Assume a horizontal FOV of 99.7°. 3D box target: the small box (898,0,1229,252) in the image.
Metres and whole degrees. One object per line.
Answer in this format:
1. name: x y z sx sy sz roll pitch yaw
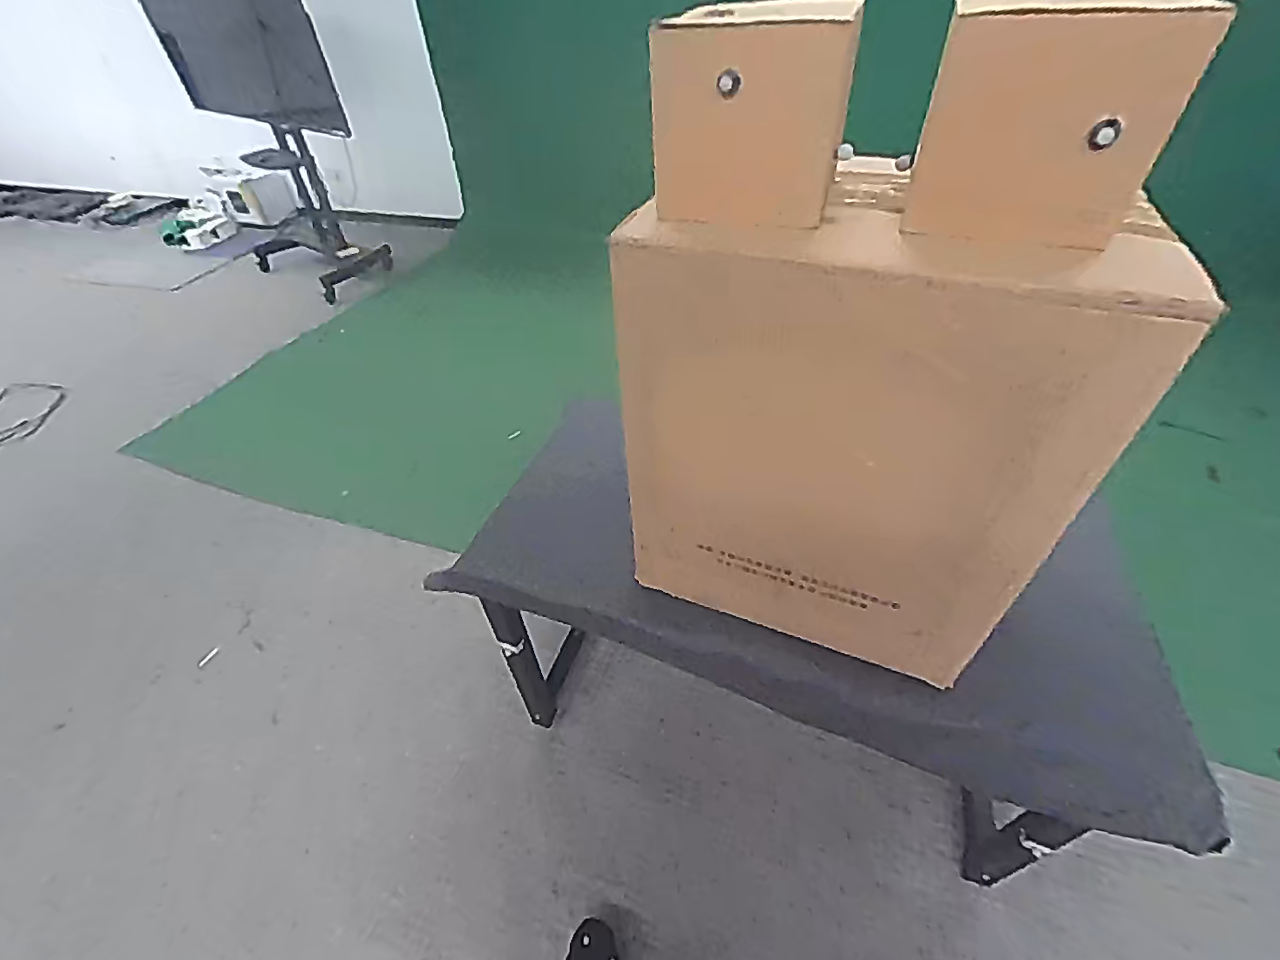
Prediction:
1. small box: 0.363 -0.329 0.504 0.179 0.176 0.168 14 47 19

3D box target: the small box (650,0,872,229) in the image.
1. small box: 0.127 -0.384 0.575 0.179 0.176 0.168 15 50 20
